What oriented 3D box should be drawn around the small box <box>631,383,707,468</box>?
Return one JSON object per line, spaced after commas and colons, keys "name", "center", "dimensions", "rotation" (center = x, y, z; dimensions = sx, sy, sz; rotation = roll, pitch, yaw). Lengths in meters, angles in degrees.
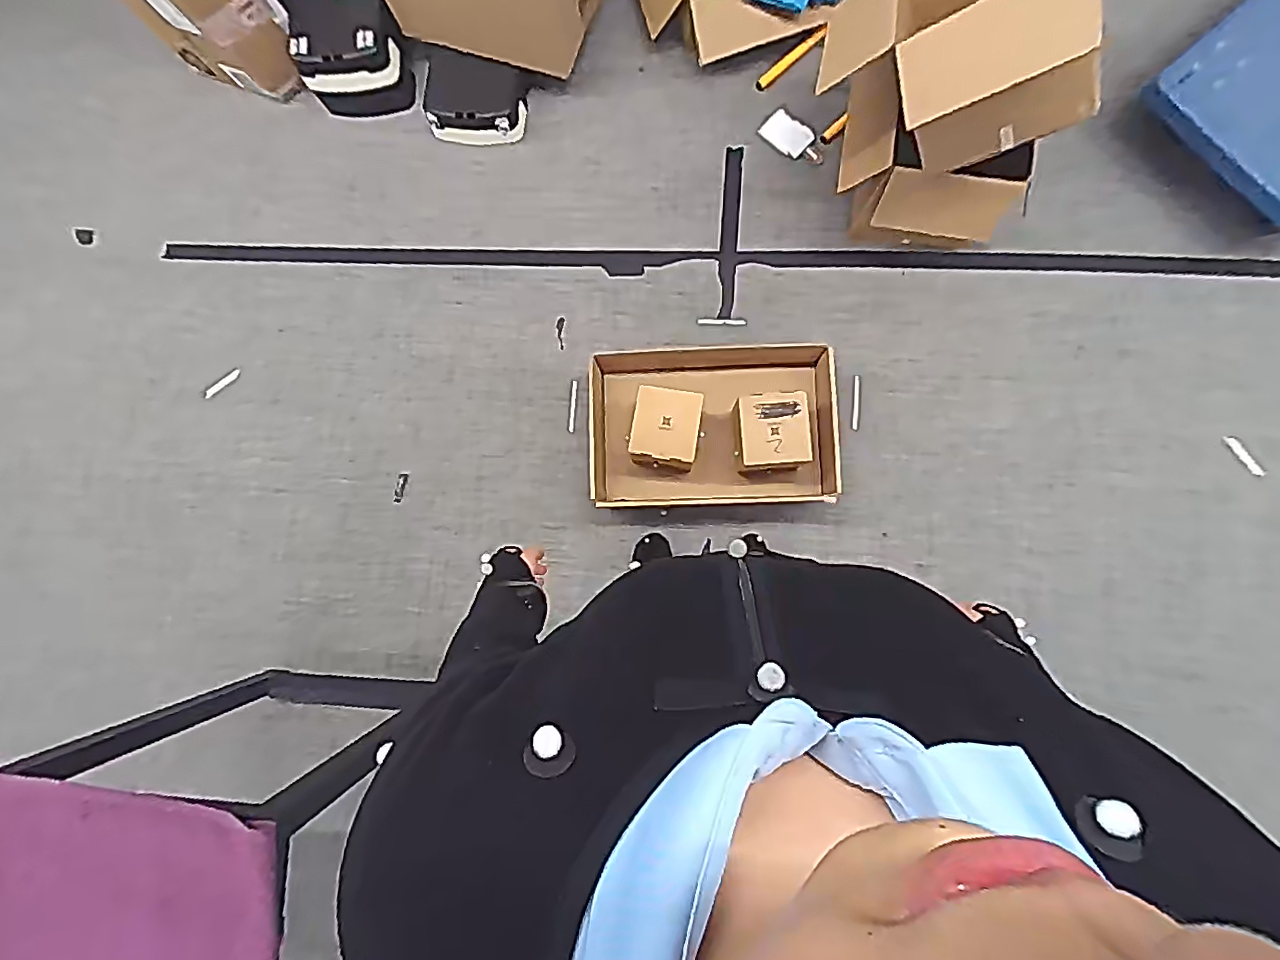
{"name": "small box", "center": [0.074, -0.137, 1.410], "dimensions": [0.168, 0.176, 0.179], "rotation": [9, 86, 3]}
